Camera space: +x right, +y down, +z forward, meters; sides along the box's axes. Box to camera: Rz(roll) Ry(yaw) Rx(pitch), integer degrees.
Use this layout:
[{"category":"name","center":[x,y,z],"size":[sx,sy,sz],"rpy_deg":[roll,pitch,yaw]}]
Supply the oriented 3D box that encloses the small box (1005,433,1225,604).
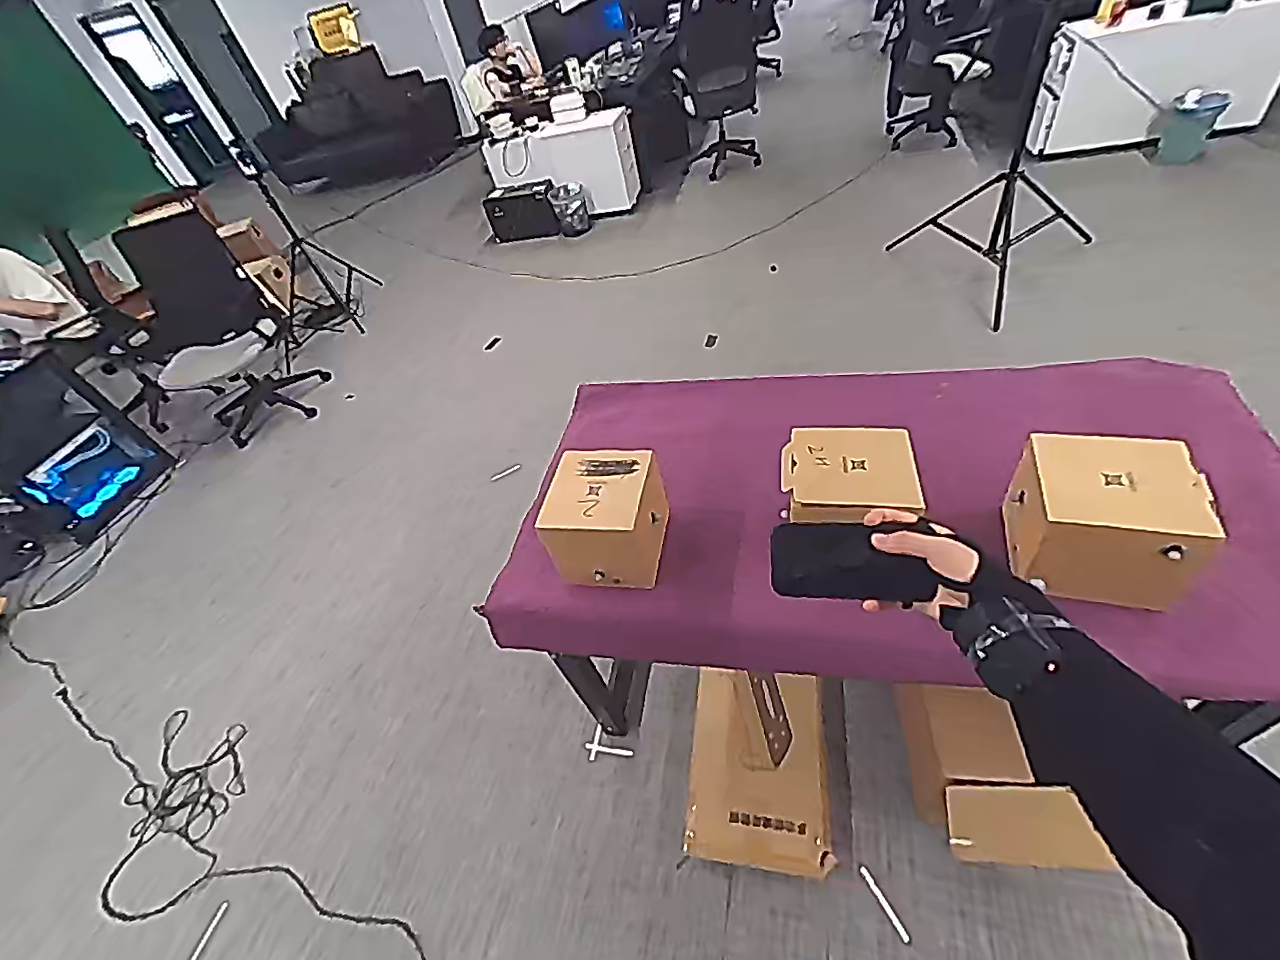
[{"category":"small box","center":[0.629,0.054,0.751],"size":[0.179,0.176,0.168],"rpy_deg":[5,49,20]}]

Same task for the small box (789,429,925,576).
[{"category":"small box","center":[0.328,0.037,0.852],"size":[0.179,0.176,0.168],"rpy_deg":[-1,45,16]}]
